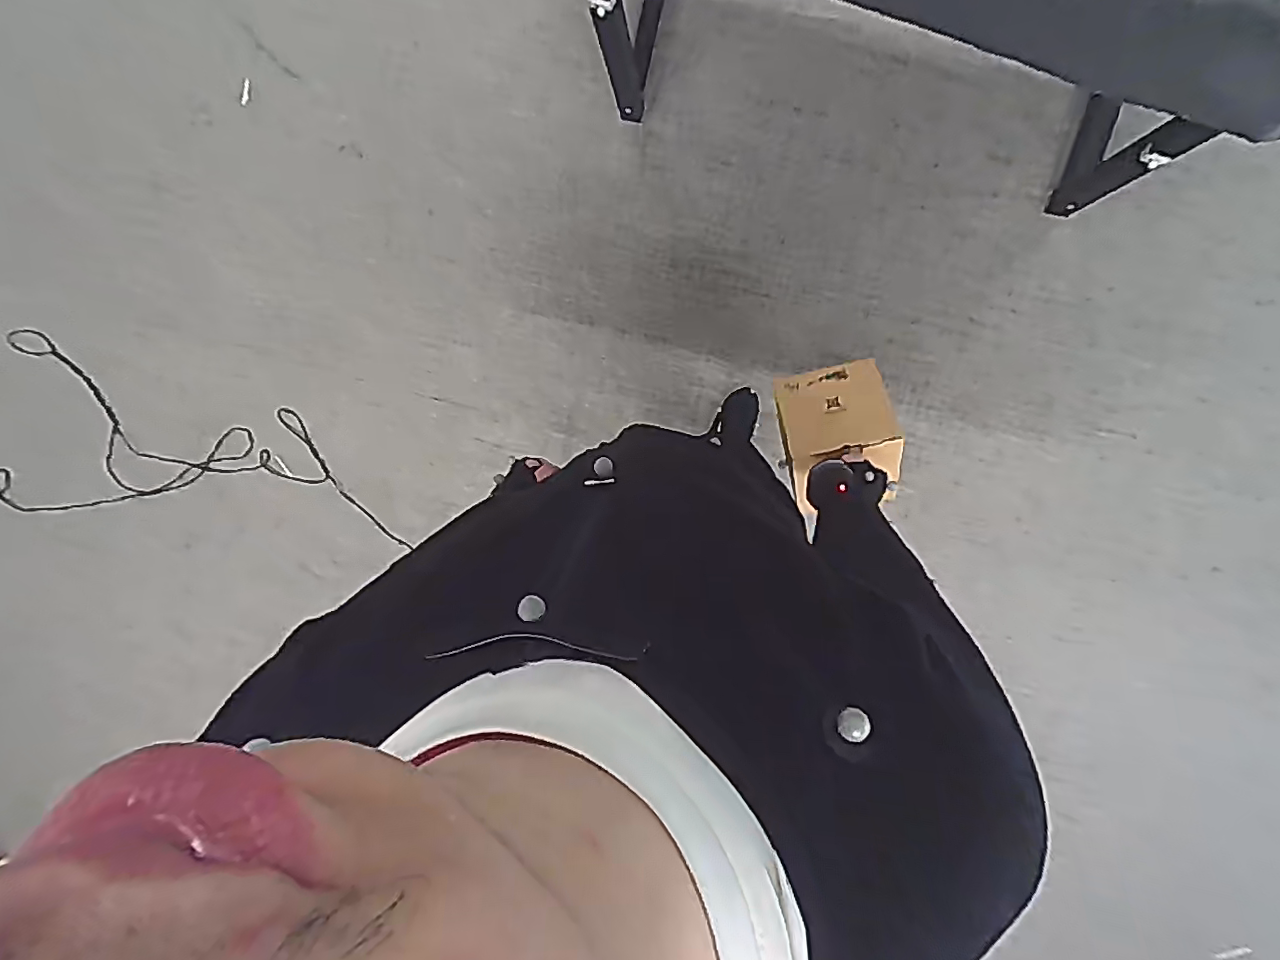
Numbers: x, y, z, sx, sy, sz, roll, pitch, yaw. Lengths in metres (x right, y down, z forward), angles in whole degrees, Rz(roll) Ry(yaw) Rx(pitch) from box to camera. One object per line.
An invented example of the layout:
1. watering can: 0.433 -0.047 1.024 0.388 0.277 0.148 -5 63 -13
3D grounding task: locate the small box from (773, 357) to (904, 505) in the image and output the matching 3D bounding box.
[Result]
1. small box: 0.338 -0.073 0.926 0.168 0.176 0.179 -14 54 13
